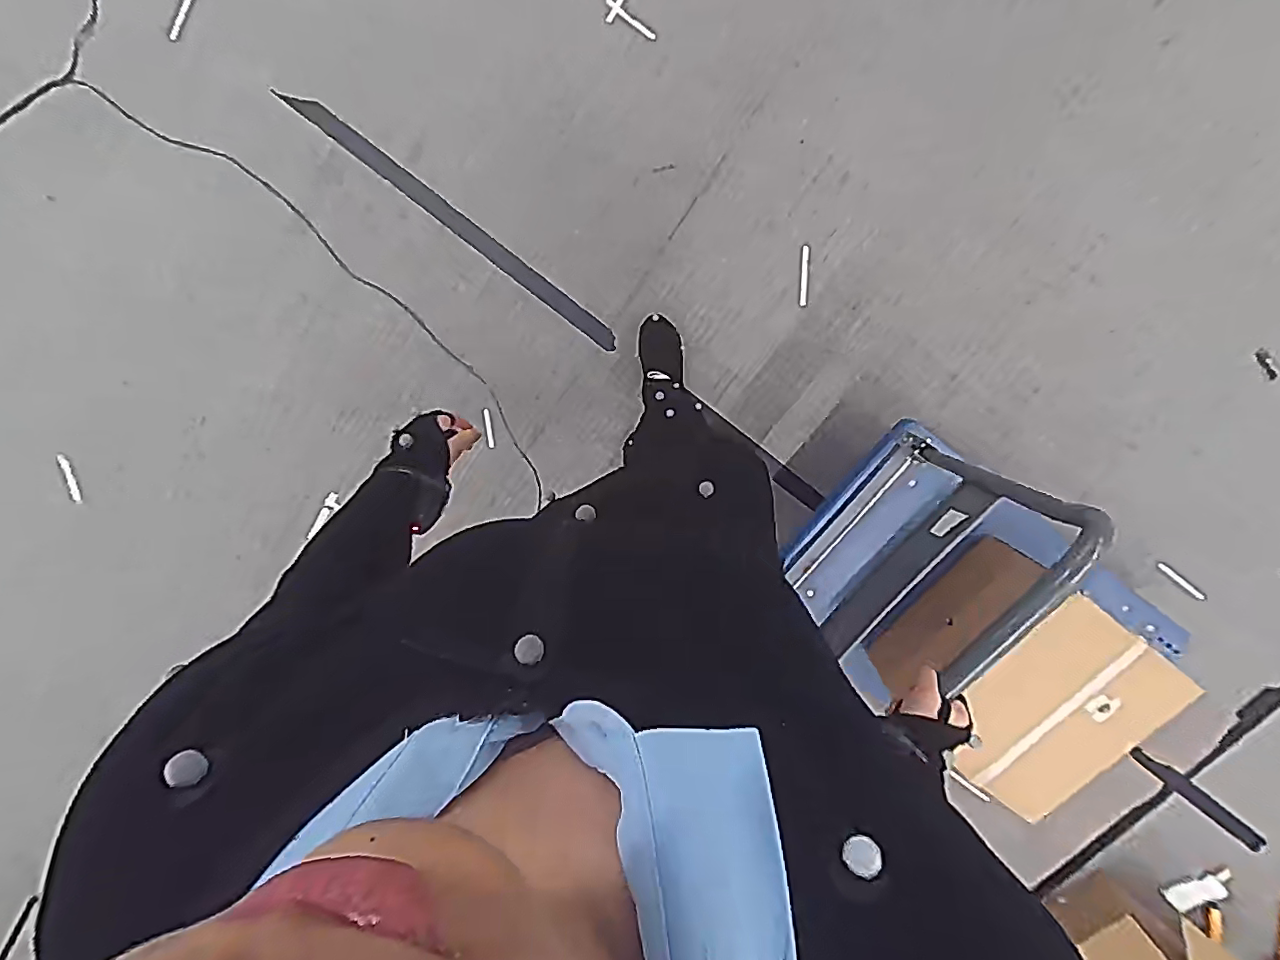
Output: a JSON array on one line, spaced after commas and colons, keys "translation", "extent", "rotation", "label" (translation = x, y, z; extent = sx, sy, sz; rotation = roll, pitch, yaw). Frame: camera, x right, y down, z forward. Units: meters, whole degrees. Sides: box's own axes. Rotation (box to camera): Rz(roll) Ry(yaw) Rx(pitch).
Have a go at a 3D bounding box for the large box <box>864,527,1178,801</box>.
[{"translation": [0.779, 0.378, 1.184], "extent": [0.320, 0.320, 0.408], "rotation": [37, 102, -4], "label": "large box"}]
